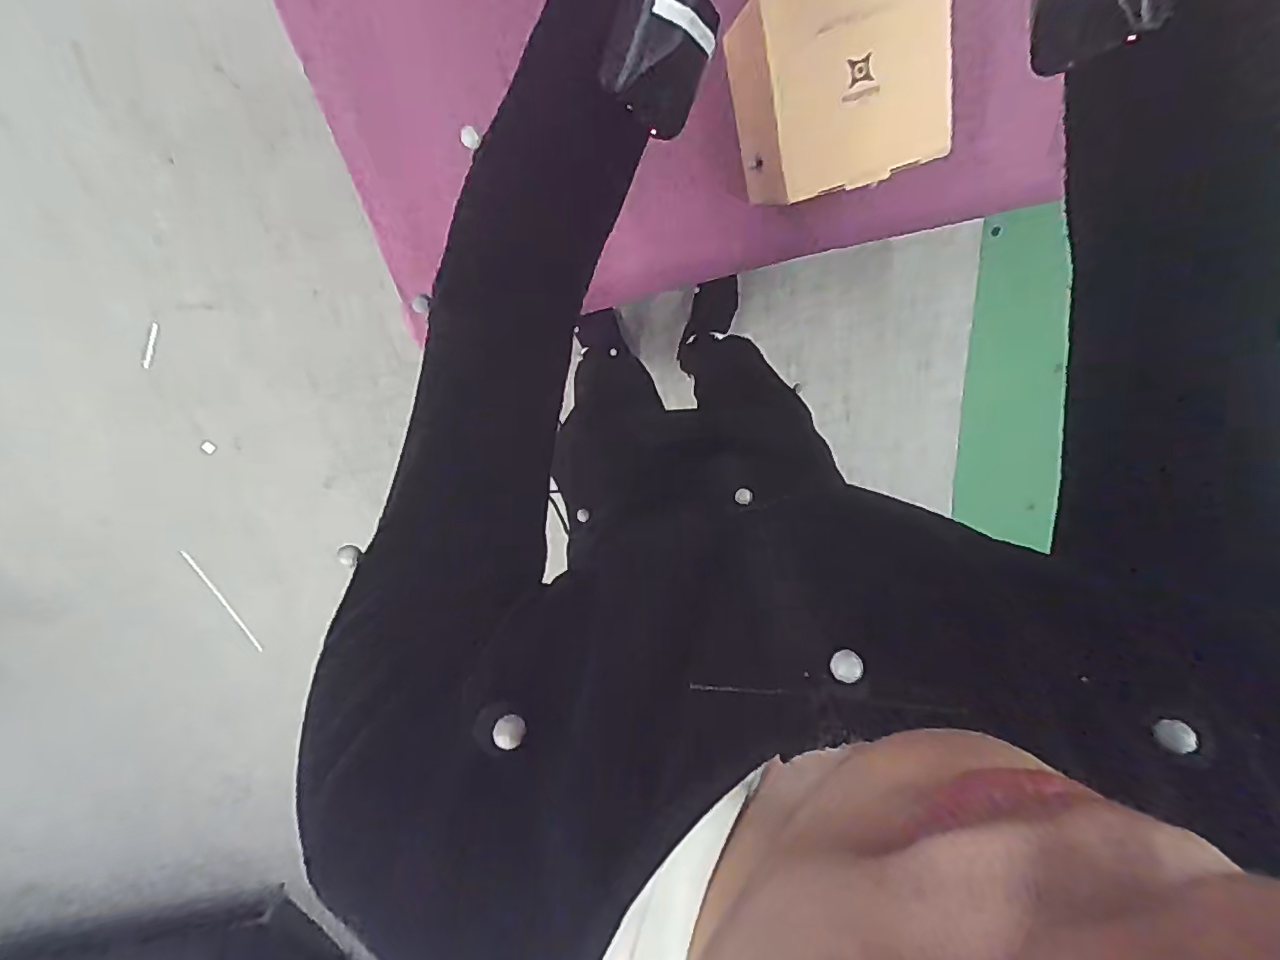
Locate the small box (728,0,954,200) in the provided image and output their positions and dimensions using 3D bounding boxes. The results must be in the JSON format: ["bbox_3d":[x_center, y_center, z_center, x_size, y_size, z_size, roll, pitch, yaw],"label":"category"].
[{"bbox_3d":[0.196,-0.407,0.556,0.168,0.176,0.179,-14,118,5],"label":"small box"}]
